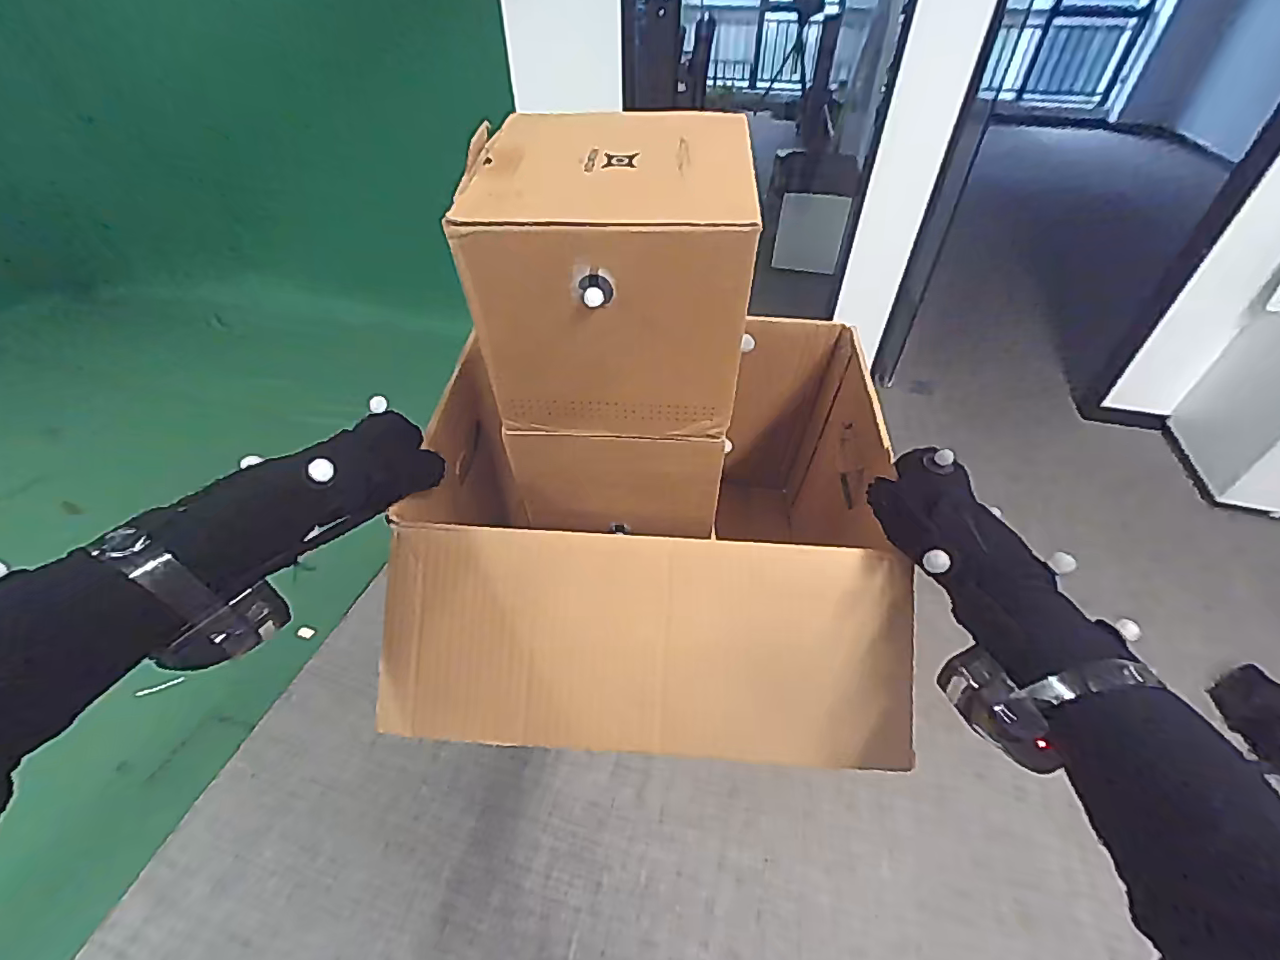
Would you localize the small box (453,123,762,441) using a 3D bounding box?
[{"bbox_3d":[-0.014,-0.144,0.408,0.179,0.176,0.168,2,52,2],"label":"small box"}]
